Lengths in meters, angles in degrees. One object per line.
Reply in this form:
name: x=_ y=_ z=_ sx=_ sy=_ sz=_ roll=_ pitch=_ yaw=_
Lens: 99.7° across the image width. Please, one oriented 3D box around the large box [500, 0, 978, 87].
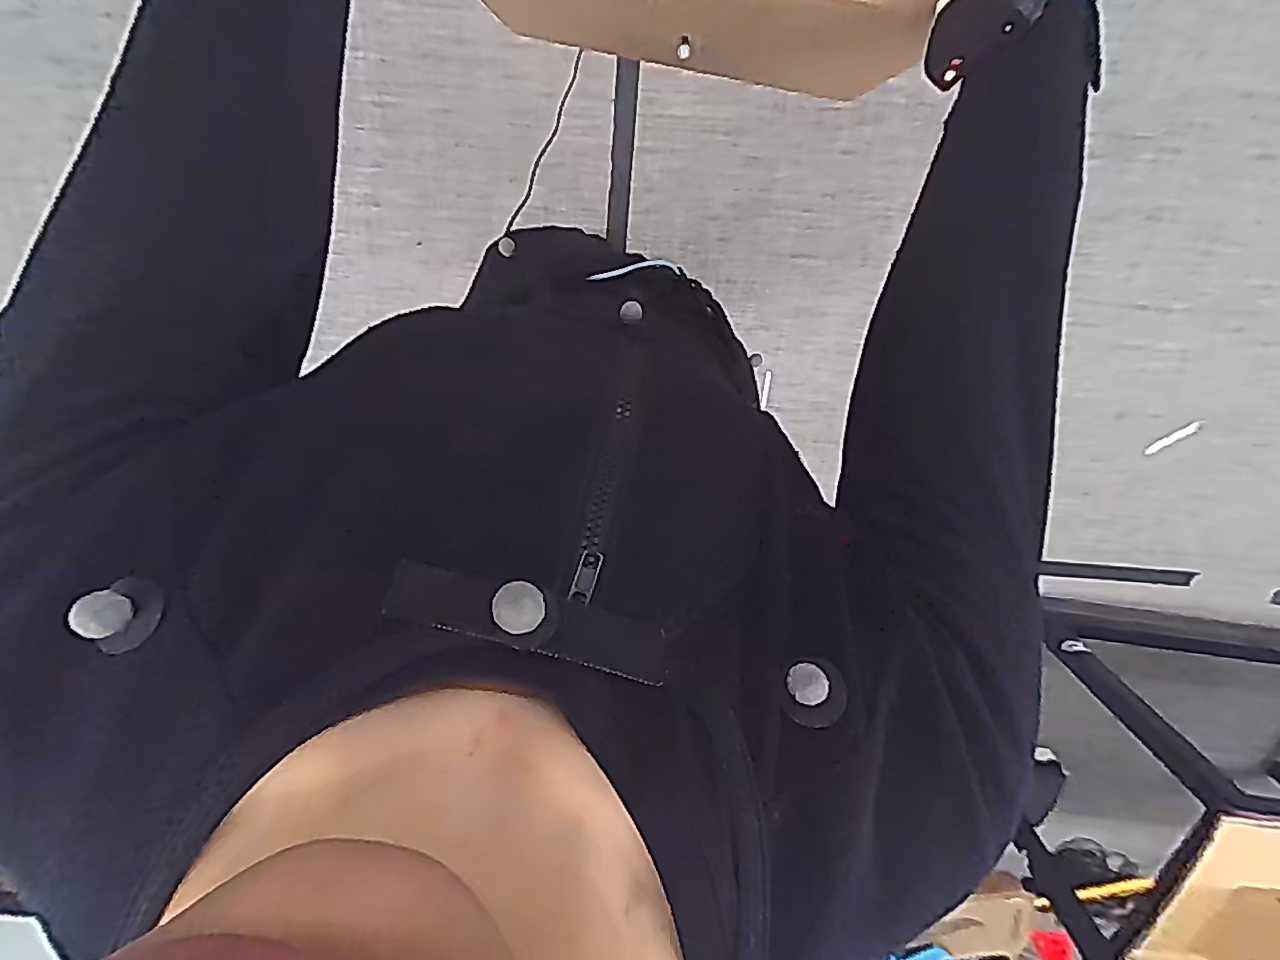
large box: x=0.071 y=-0.553 z=0.430 sx=0.408 sy=0.320 sz=0.320 roll=11 pitch=116 yaw=-1
